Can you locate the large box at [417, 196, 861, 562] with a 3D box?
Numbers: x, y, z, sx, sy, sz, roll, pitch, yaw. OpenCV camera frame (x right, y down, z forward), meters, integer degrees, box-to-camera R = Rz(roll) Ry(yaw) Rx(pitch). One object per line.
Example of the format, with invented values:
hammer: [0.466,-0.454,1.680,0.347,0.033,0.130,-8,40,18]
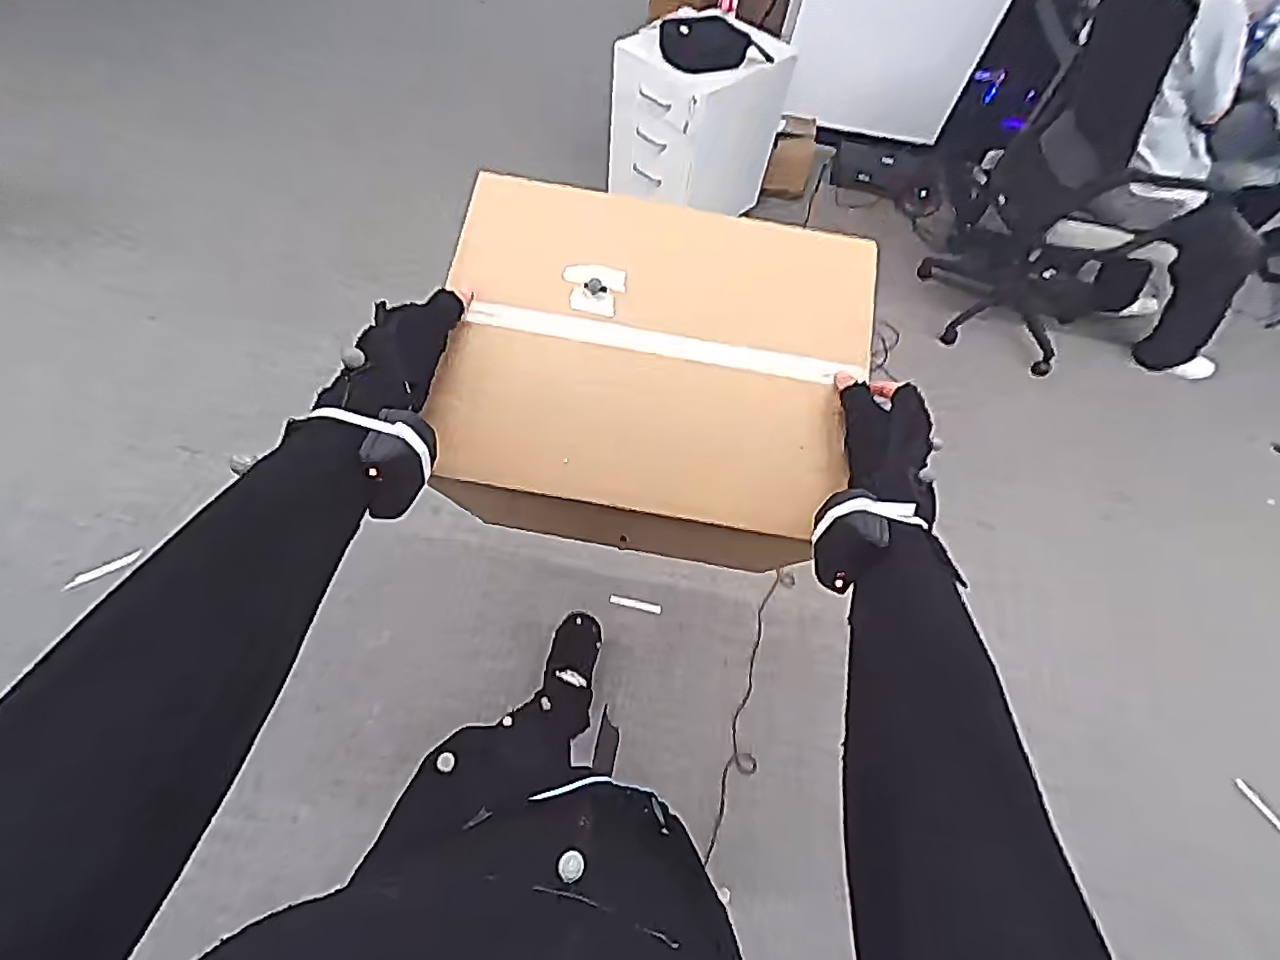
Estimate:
large box: [0.009,-0.087,0.673,0.408,0.320,0.320,10,75,0]
